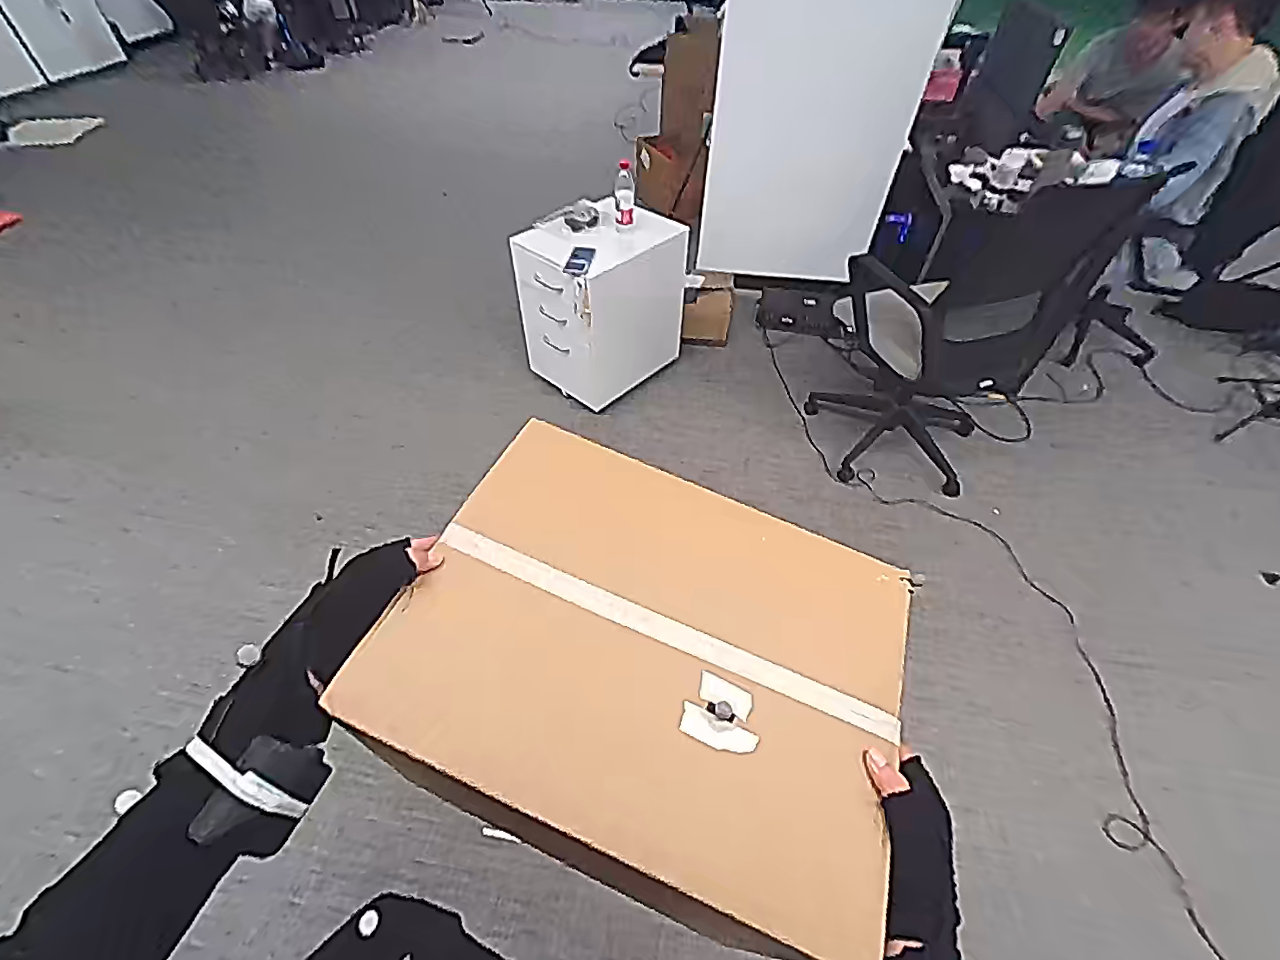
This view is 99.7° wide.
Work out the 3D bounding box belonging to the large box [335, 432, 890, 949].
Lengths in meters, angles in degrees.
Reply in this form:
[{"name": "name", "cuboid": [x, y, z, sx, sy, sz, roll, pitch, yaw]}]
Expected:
[{"name": "large box", "cuboid": [-0.013, 0.215, 0.577, 0.408, 0.320, 0.320, 22, 53, 6]}]
